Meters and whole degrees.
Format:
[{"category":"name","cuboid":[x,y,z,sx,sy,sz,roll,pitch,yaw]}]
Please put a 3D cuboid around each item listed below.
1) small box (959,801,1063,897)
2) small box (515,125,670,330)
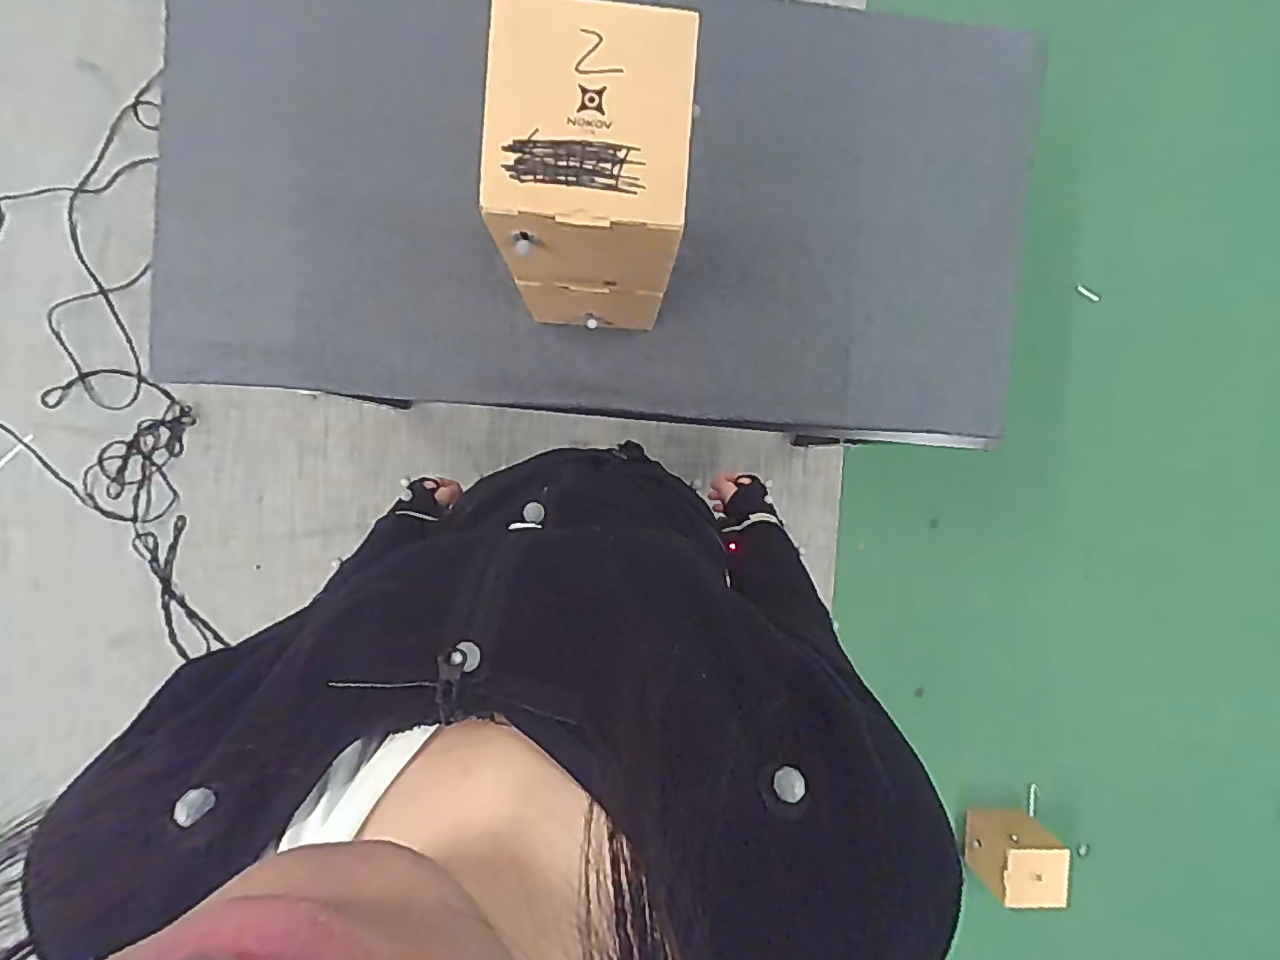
[{"category":"small box","cuboid":[1.061,1.052,1.555,0.179,0.176,0.168,1,93,-3]},{"category":"small box","cuboid":[-0.058,-0.301,0.679,0.168,0.176,0.179,3,92,-3]}]
